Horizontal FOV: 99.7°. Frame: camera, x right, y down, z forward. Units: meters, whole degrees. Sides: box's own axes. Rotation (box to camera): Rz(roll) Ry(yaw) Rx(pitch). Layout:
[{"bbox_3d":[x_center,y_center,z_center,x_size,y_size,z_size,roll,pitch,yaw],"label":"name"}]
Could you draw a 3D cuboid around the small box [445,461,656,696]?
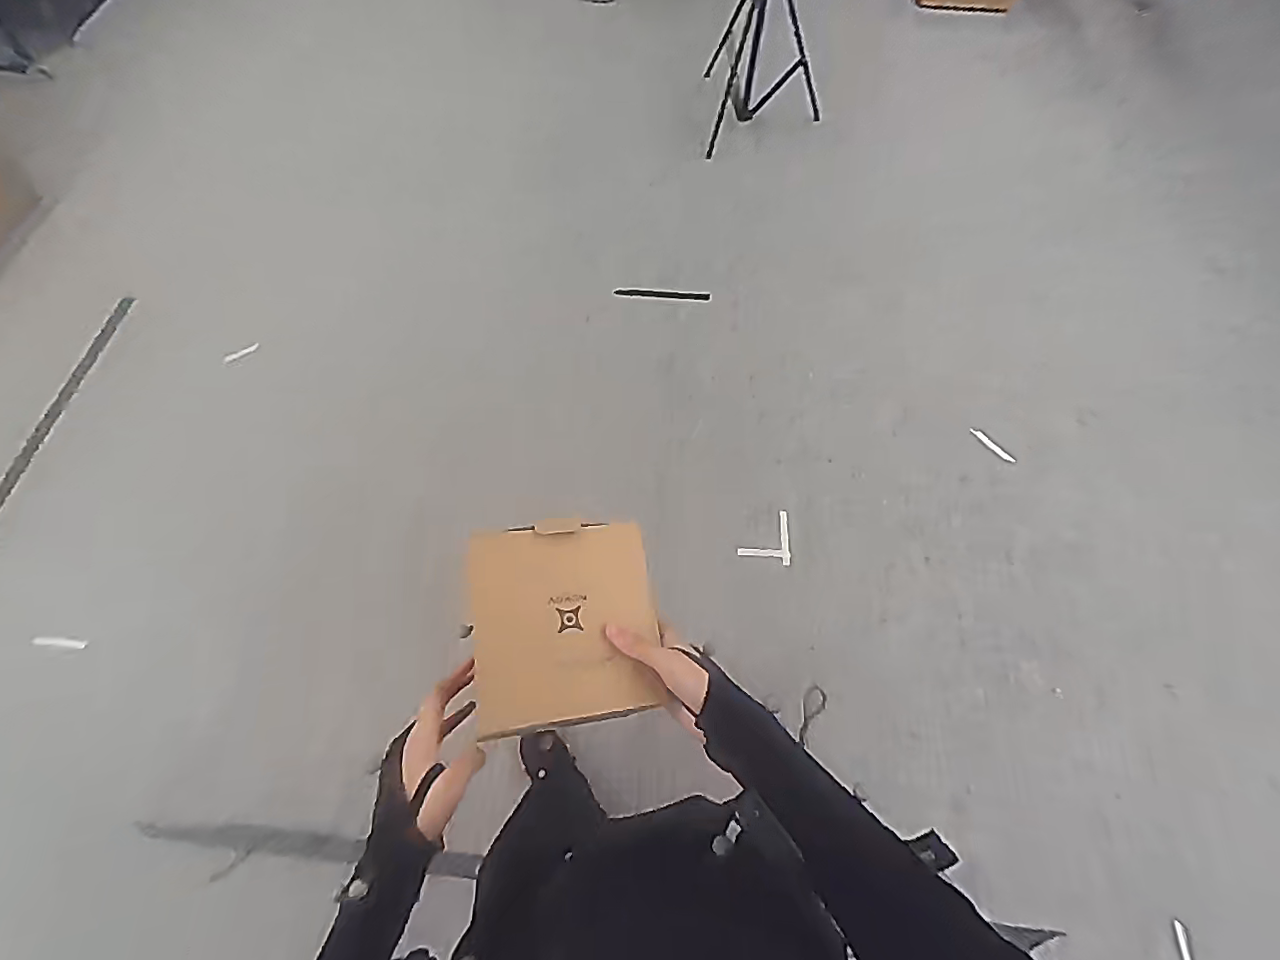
[{"bbox_3d":[-0.099,0.097,0.520,0.168,0.176,0.179,-2,65,-18],"label":"small box"}]
